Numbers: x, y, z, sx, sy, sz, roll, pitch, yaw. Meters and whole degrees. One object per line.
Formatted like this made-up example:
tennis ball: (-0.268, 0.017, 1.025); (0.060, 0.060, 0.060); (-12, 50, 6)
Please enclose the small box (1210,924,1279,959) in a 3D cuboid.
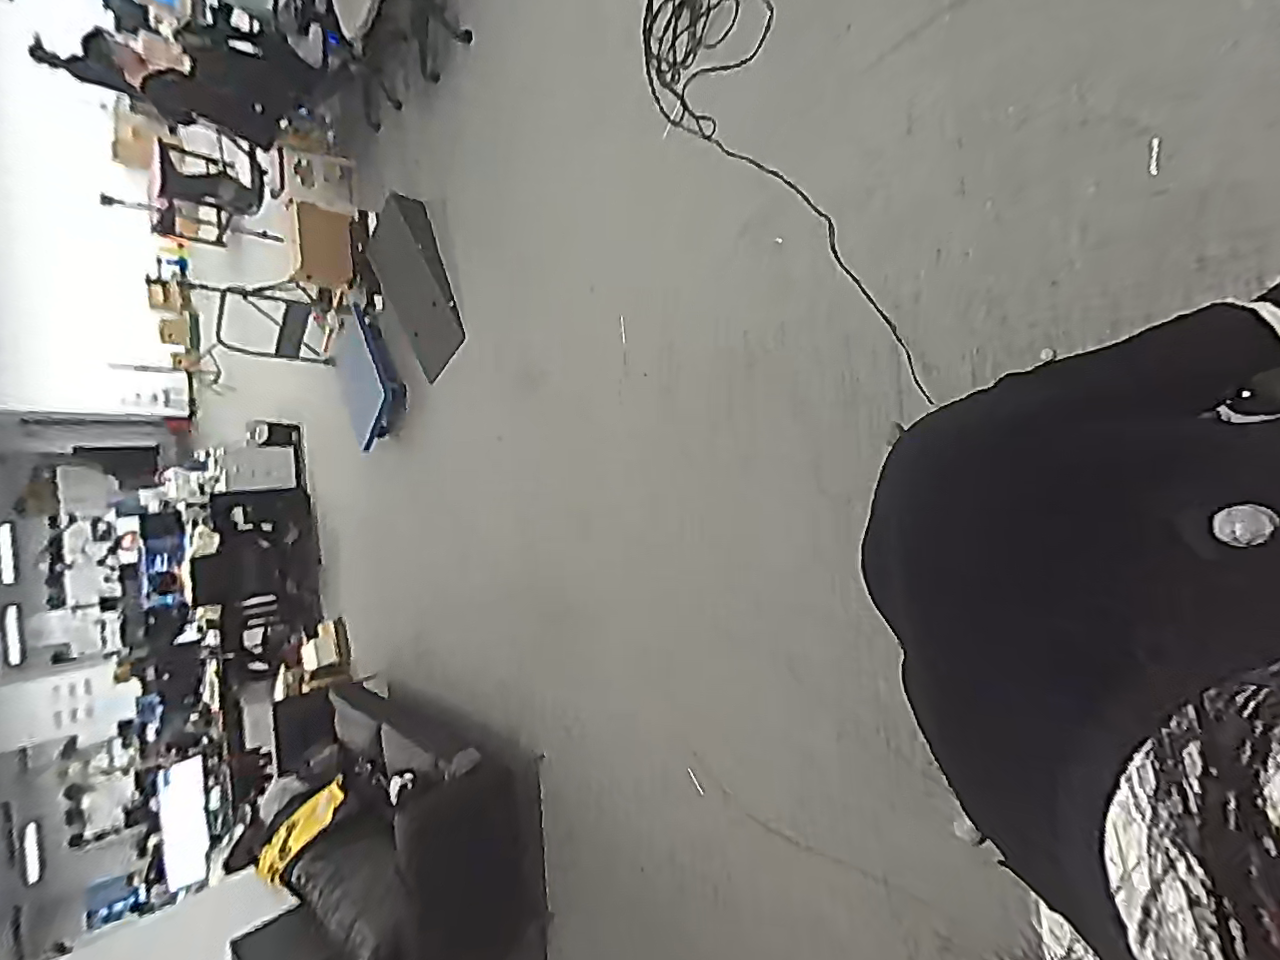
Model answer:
small box: (0.689, 0.615, 0.538); (0.168, 0.176, 0.179); (0, 94, 44)
